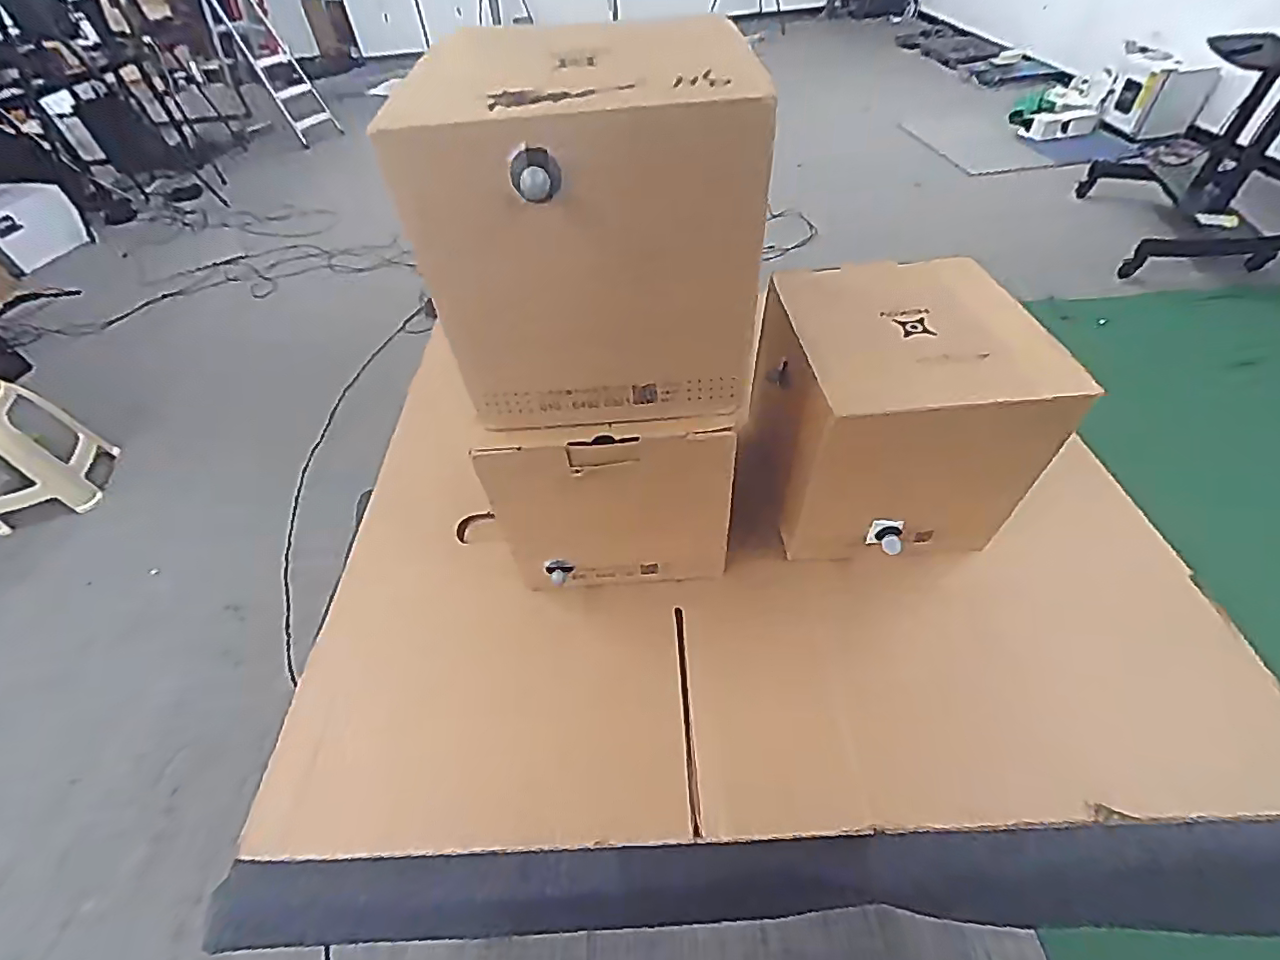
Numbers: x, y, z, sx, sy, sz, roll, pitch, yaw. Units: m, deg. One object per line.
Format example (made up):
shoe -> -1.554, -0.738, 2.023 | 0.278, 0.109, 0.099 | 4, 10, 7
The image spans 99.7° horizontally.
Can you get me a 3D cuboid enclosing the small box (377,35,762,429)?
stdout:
small box -> -0.027, -0.152, 0.339 | 0.168, 0.176, 0.179 | -4, 48, 2
